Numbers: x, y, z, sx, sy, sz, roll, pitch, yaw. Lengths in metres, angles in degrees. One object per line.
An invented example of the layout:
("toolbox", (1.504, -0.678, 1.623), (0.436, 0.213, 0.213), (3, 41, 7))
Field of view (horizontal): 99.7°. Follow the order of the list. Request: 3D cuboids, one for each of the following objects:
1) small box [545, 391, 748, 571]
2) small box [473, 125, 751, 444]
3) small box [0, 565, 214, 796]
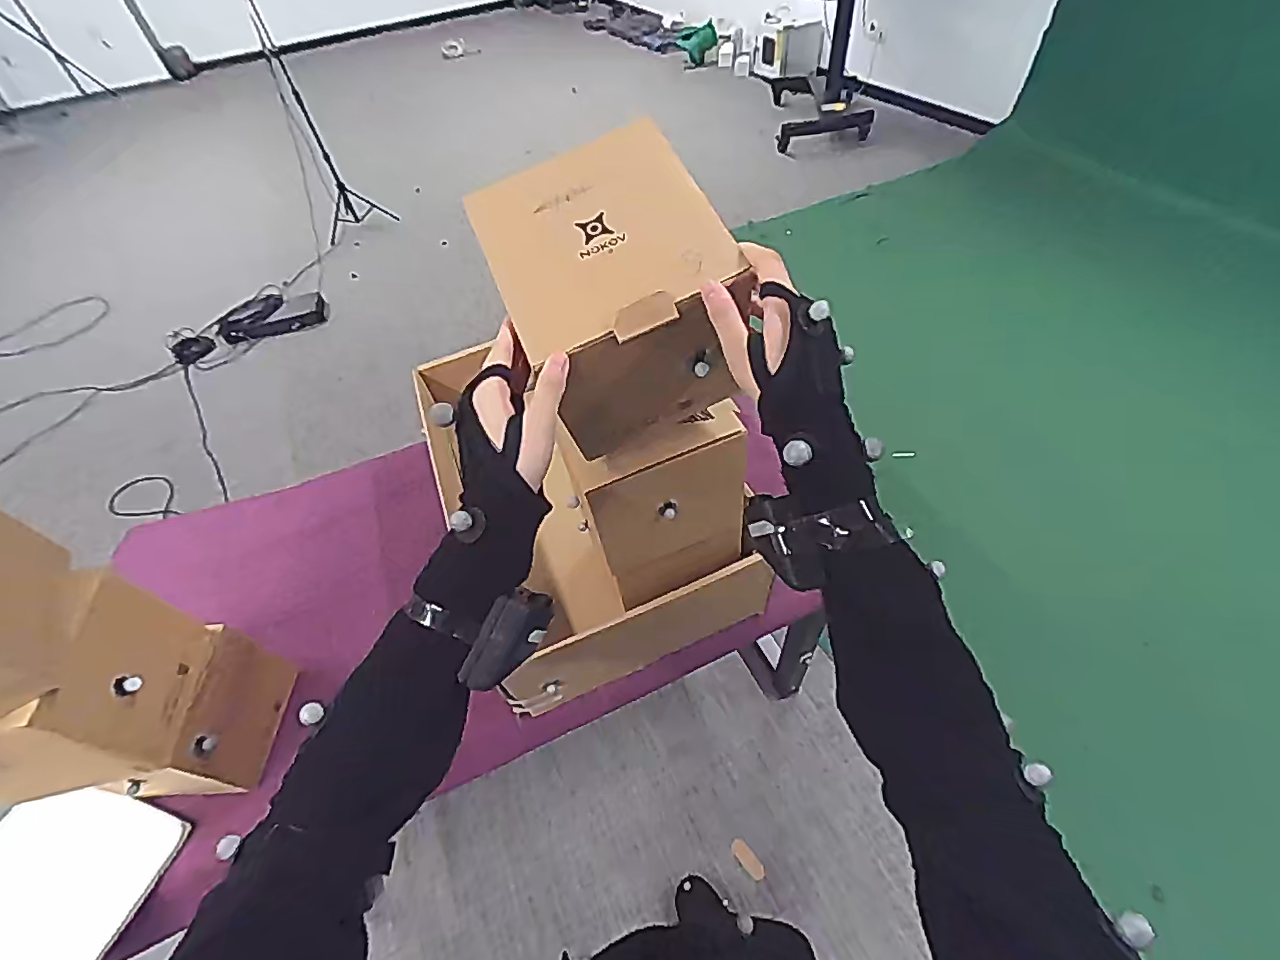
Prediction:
("small box", (0.009, -0.023, 0.634), (0.179, 0.176, 0.168), (-21, 51, -8))
("small box", (-0.016, -0.150, 0.471), (0.168, 0.176, 0.179), (-23, 67, -2))
("small box", (-0.612, 0.216, 0.574), (0.179, 0.176, 0.168), (-12, 50, -3))
